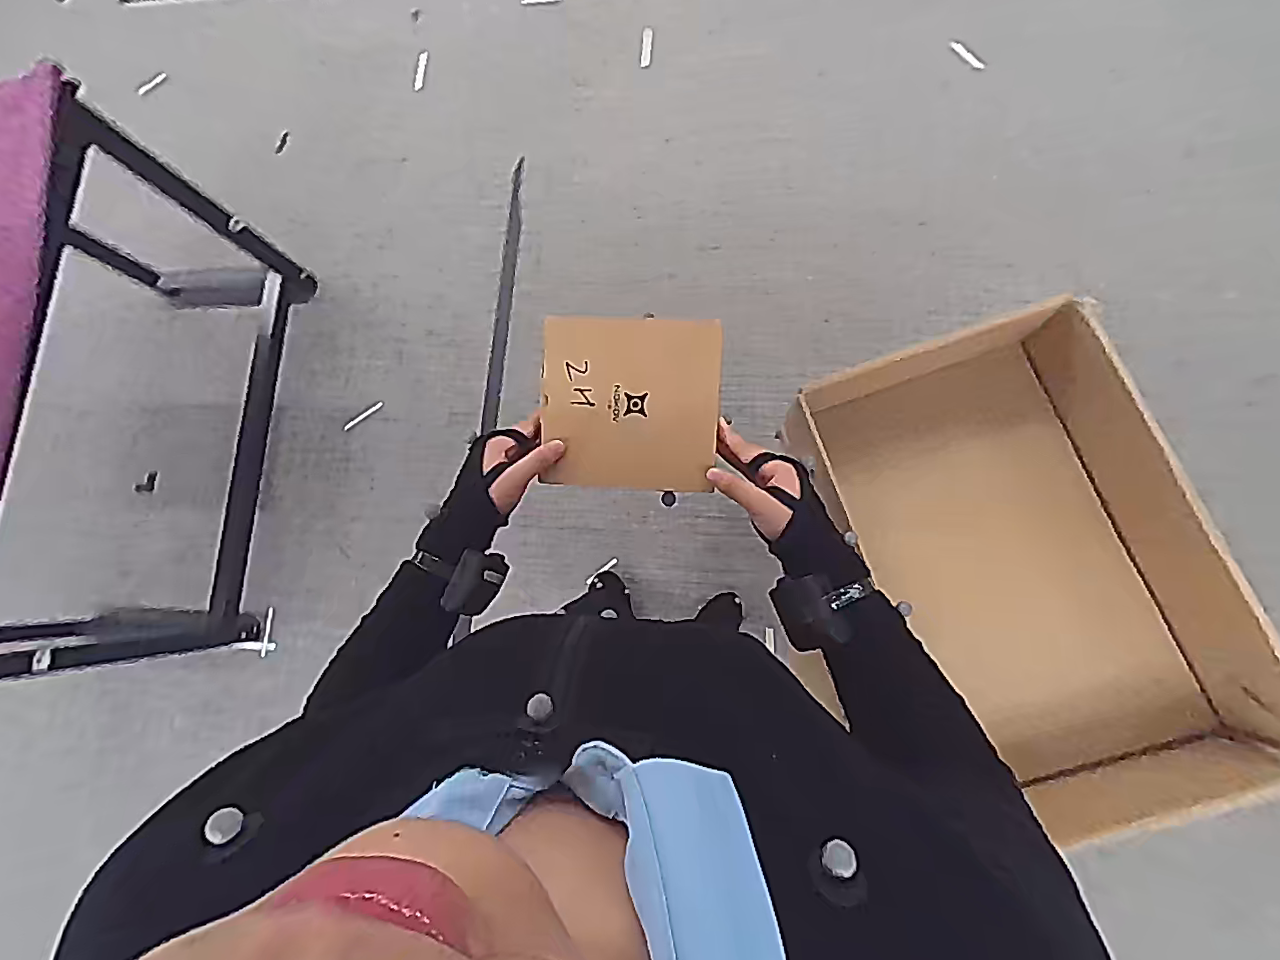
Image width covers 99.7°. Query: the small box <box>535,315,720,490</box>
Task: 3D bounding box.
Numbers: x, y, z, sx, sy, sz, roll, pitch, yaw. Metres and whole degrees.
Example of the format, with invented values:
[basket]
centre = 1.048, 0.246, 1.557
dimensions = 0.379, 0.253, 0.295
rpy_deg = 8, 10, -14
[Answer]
[small box]
centre = -0.004, -0.078, 0.599
dimensions = 0.179, 0.176, 0.168
rpy_deg = 2, 91, 8
